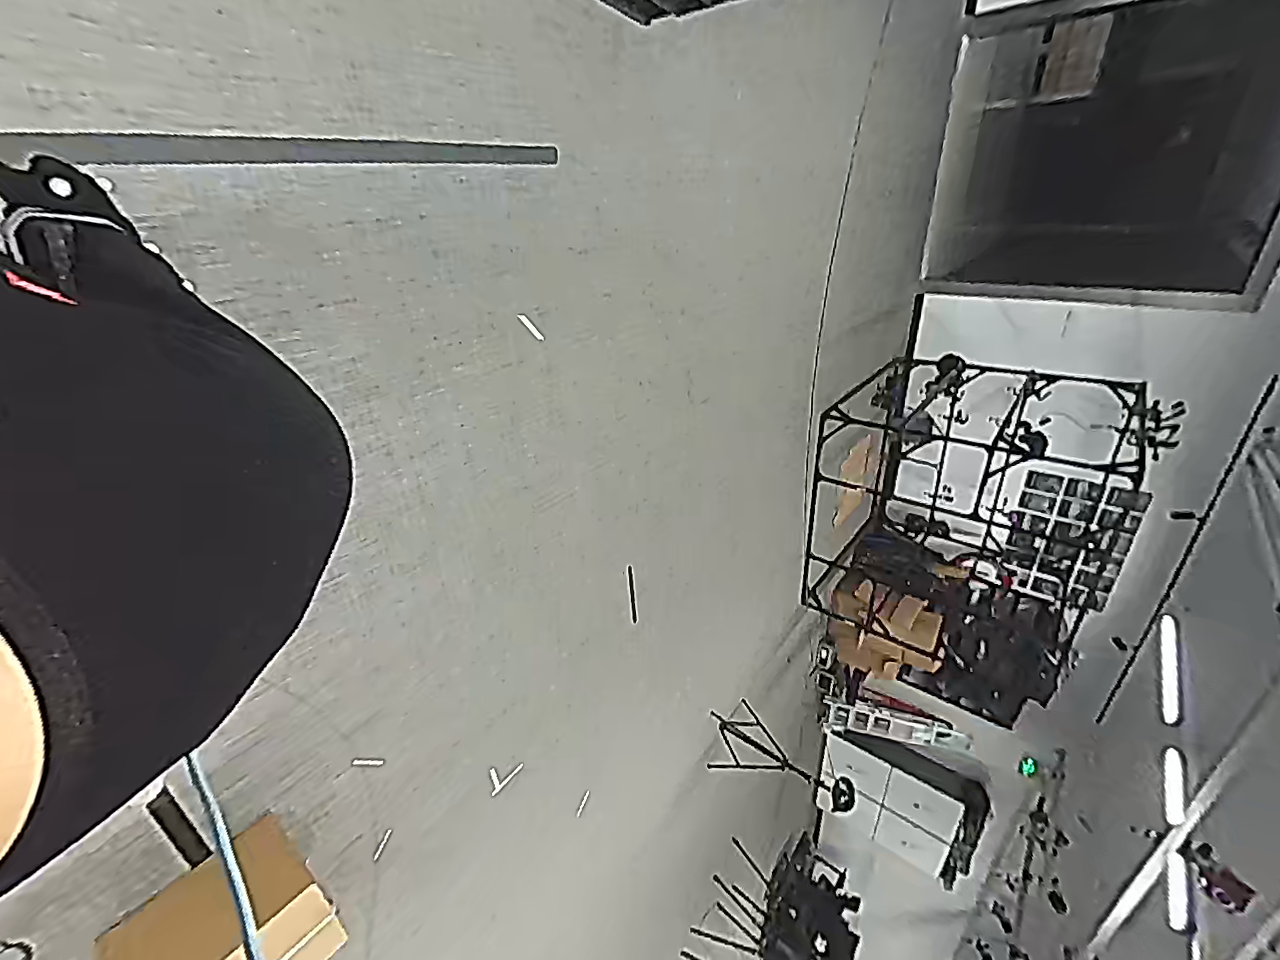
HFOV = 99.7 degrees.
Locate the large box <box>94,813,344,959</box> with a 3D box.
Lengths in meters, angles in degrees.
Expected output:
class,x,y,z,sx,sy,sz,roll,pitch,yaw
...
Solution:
class,x,y,z,sx,sy,sz,roll,pitch,yaw
large box,-1.097,1.217,1.441,0.408,0.320,0.320,-32,129,-42
